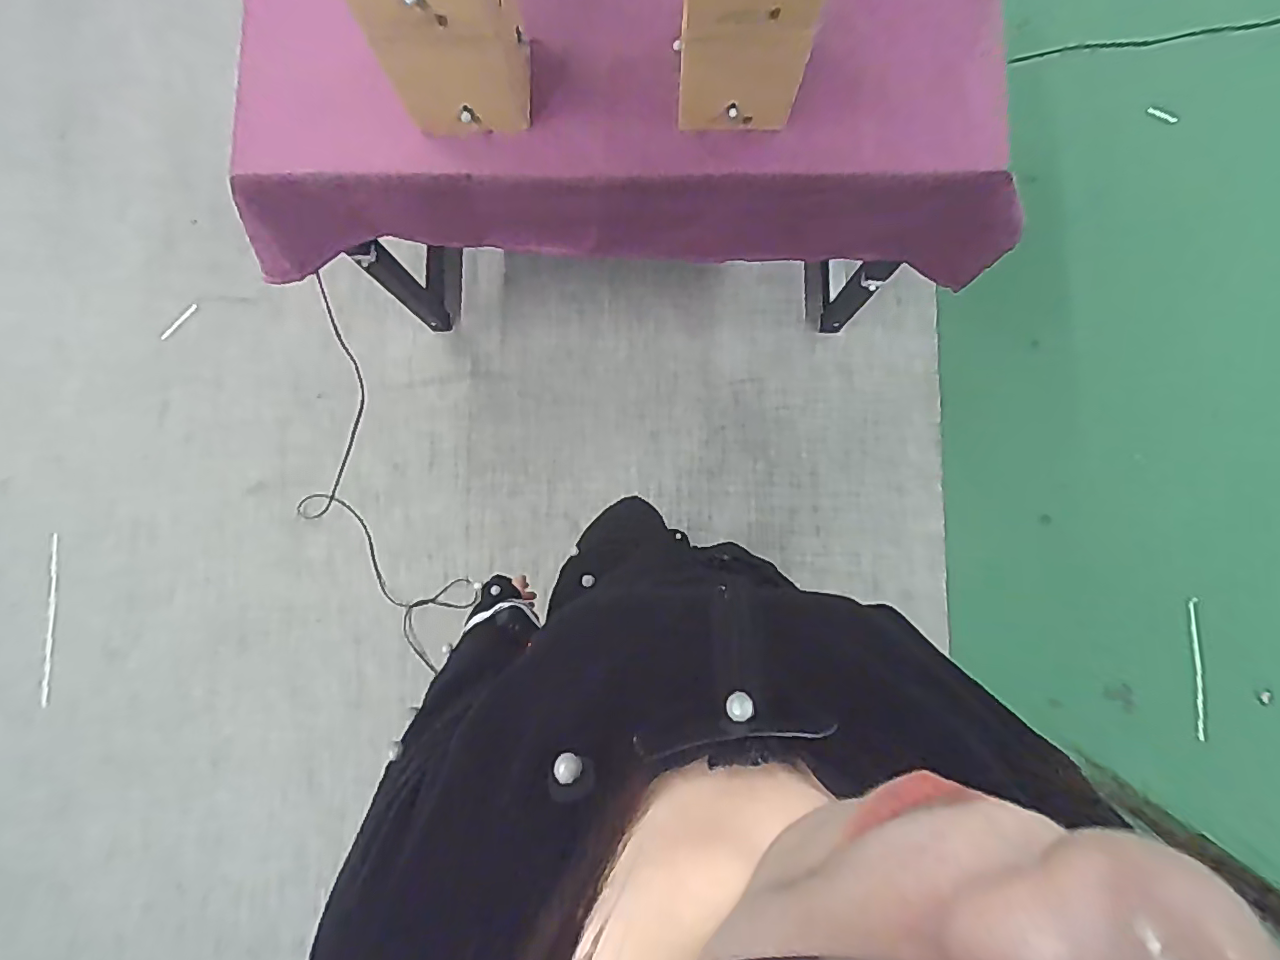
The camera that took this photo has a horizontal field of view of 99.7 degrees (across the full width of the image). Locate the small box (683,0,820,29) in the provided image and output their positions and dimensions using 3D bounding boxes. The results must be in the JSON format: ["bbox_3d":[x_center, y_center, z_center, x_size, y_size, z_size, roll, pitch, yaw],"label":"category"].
[{"bbox_3d":[0.134,-0.649,0.600,0.168,0.176,0.179,1,85,1],"label":"small box"}]

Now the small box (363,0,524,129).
[{"bbox_3d":[-0.265,-0.634,0.770,0.179,0.176,0.168,-1,85,0],"label":"small box"}]
